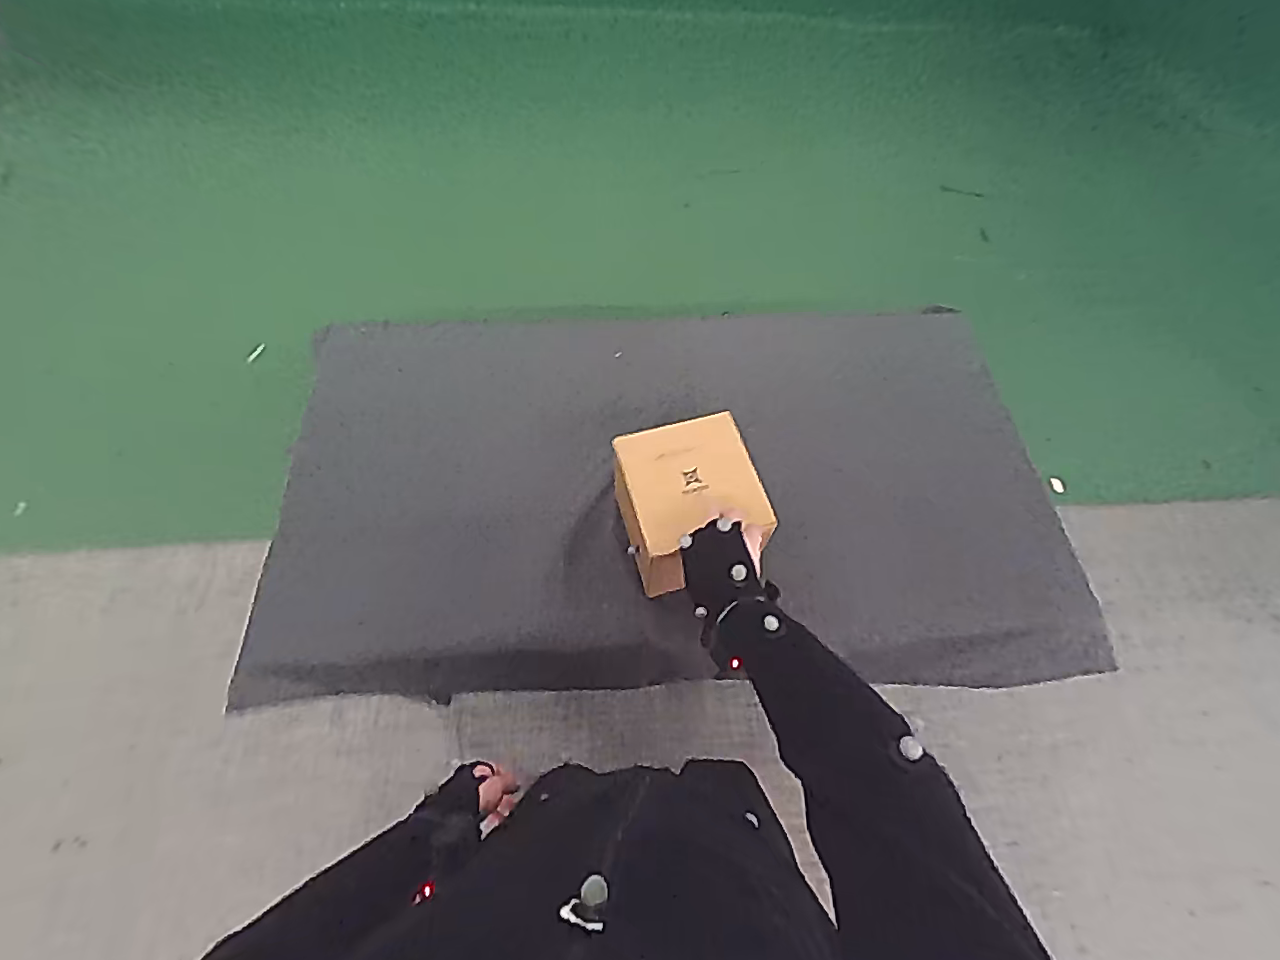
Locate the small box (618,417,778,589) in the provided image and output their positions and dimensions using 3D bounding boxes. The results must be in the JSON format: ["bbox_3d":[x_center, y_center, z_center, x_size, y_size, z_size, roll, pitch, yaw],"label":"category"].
[{"bbox_3d":[0.069,0.042,0.762,0.168,0.176,0.179,-13,62,-11],"label":"small box"}]
